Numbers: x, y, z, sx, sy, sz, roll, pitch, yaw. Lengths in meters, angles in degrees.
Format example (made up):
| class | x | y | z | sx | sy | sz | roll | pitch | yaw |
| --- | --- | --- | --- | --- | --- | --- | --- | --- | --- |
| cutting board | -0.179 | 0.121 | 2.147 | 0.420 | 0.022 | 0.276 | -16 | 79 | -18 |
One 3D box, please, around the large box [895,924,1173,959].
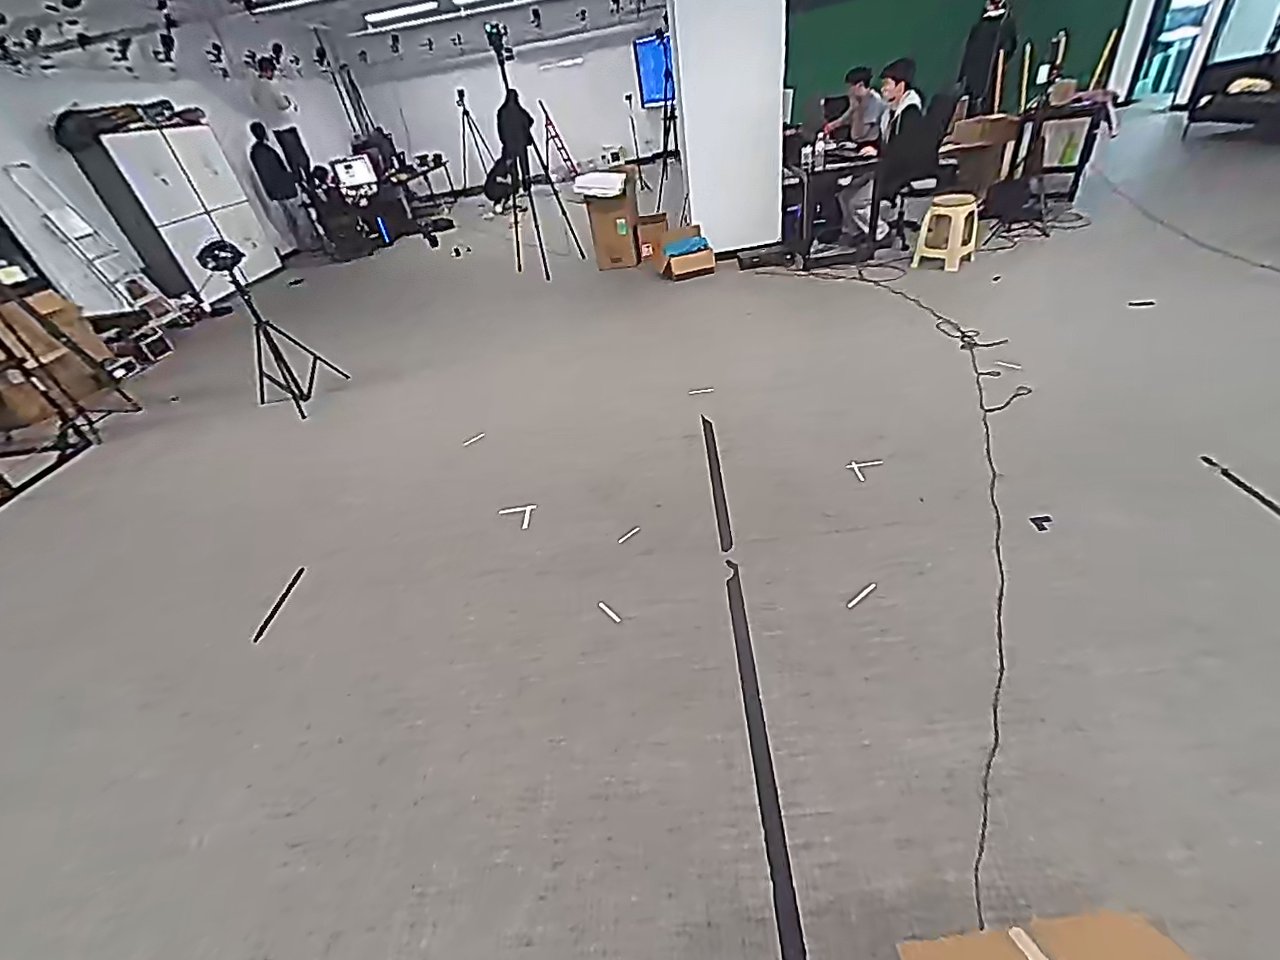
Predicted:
| class | x | y | z | sx | sy | sz | roll | pitch | yaw |
| --- | --- | --- | --- | --- | --- | --- | --- | --- | --- |
| large box | 0.494 | 0.723 | 0.494 | 0.320 | 0.320 | 0.408 | -13 | -8 | 4 |
